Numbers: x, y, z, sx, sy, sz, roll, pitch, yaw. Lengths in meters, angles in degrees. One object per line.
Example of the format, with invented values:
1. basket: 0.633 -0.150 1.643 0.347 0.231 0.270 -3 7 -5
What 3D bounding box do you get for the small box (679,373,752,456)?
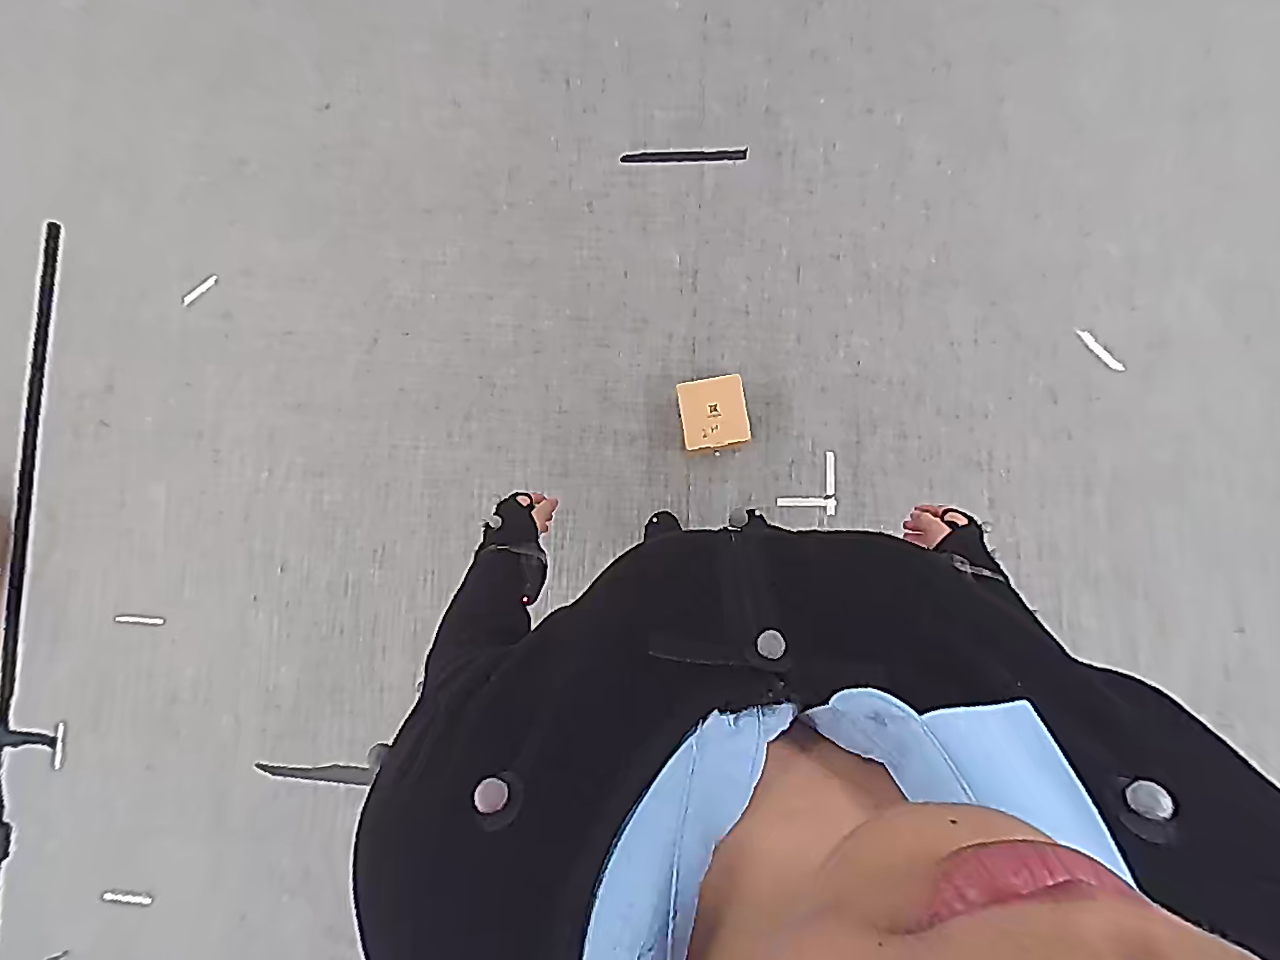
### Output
1. small box: 0.194 -0.168 1.434 0.168 0.176 0.179 -9 87 5
